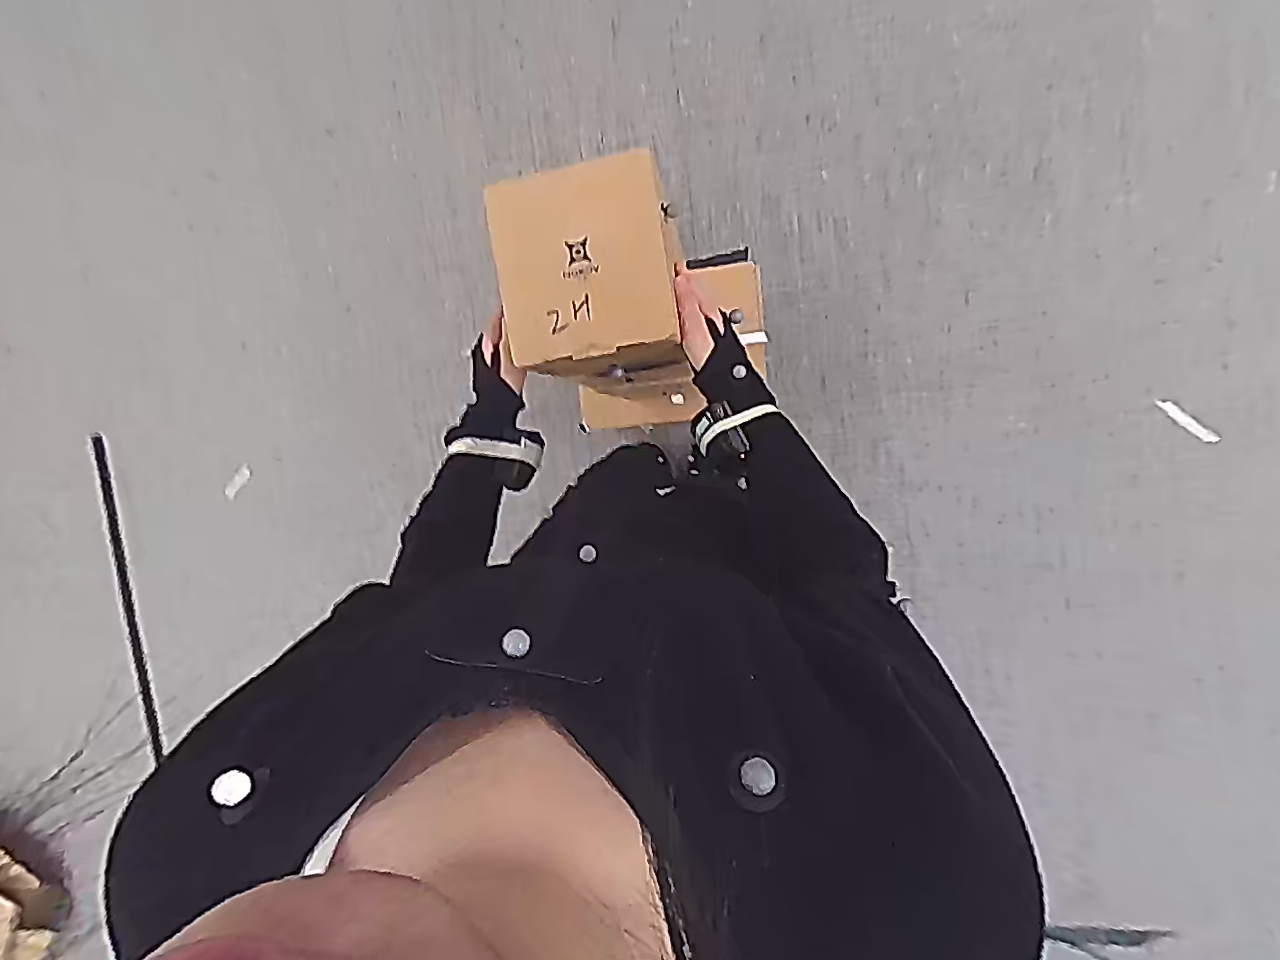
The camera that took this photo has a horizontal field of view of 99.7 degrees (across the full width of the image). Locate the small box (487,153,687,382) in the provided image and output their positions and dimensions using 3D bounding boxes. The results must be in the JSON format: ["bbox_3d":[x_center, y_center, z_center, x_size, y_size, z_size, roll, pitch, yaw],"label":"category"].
[{"bbox_3d":[-0.045,-0.213,0.593,0.168,0.176,0.179,-8,94,11],"label":"small box"}]

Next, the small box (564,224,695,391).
[{"bbox_3d":[-0.017,-0.226,0.755,0.168,0.176,0.179,-7,95,10],"label":"small box"}]

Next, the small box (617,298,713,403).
[{"bbox_3d":[0.048,-0.248,1.075,0.179,0.176,0.168,-7,95,10],"label":"small box"}]
